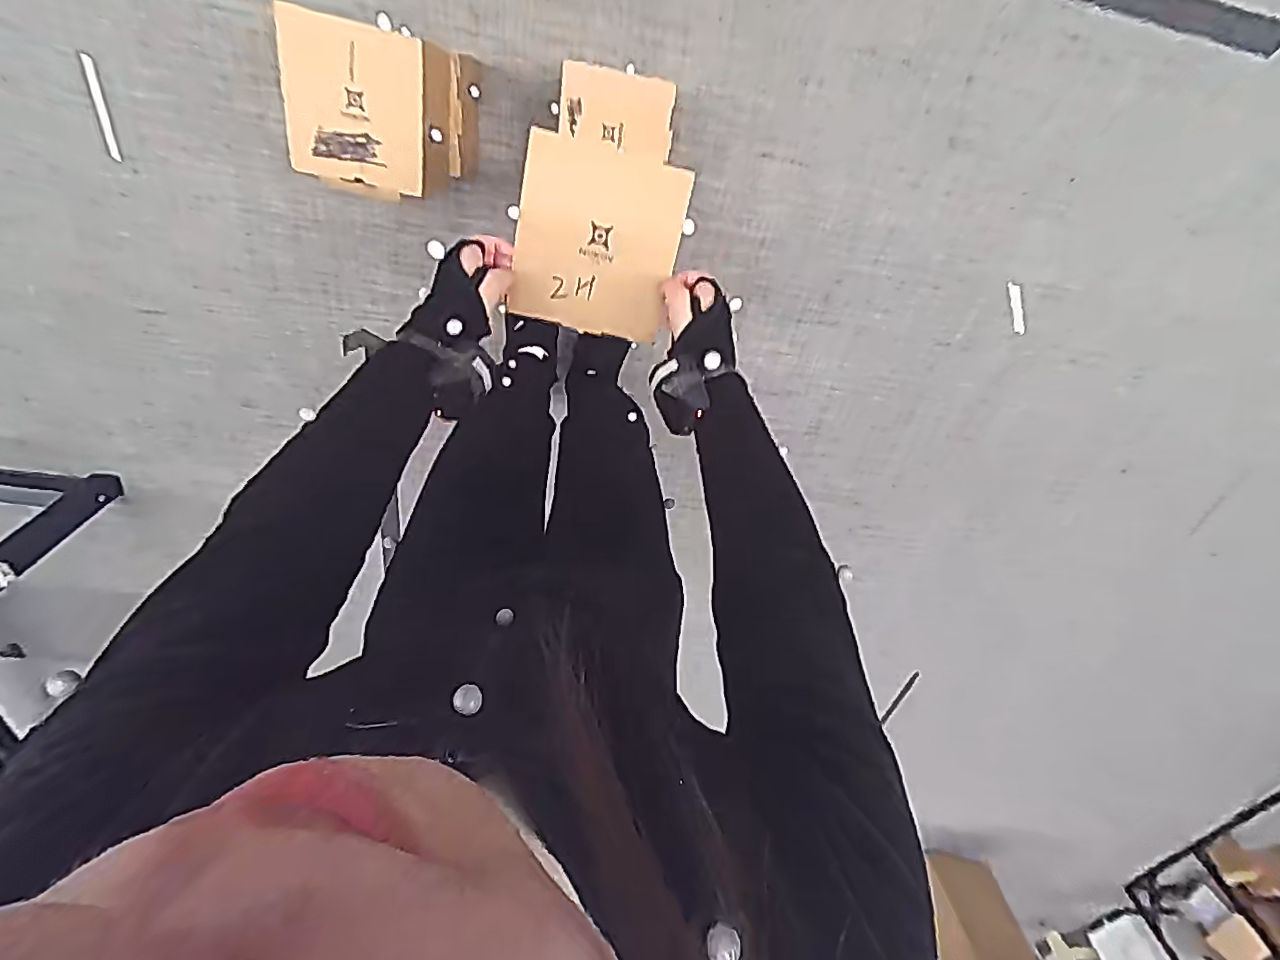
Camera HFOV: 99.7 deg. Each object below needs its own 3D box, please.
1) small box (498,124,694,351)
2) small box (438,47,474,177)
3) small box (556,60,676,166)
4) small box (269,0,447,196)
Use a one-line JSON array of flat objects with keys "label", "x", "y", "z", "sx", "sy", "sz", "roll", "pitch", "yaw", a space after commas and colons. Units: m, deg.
[{"label": "small box", "x": -0.053, "y": -0.264, "z": 0.612, "sx": 0.168, "sy": 0.176, "sz": 0.179, "roll": 12, "pitch": 111, "yaw": -10}, {"label": "small box", "x": -0.367, "y": -0.604, "z": 0.869, "sx": 0.179, "sy": 0.176, "sz": 0.168, "roll": 6, "pitch": 124, "yaw": -9}, {"label": "small box", "x": -0.051, "y": -0.584, "z": 0.911, "sx": 0.179, "sy": 0.176, "sz": 0.168, "roll": 6, "pitch": 124, "yaw": -10}, {"label": "small box", "x": -0.365, "y": -0.510, "z": 0.735, "sx": 0.168, "sy": 0.176, "sz": 0.179, "roll": 8, "pitch": 122, "yaw": -11}]
